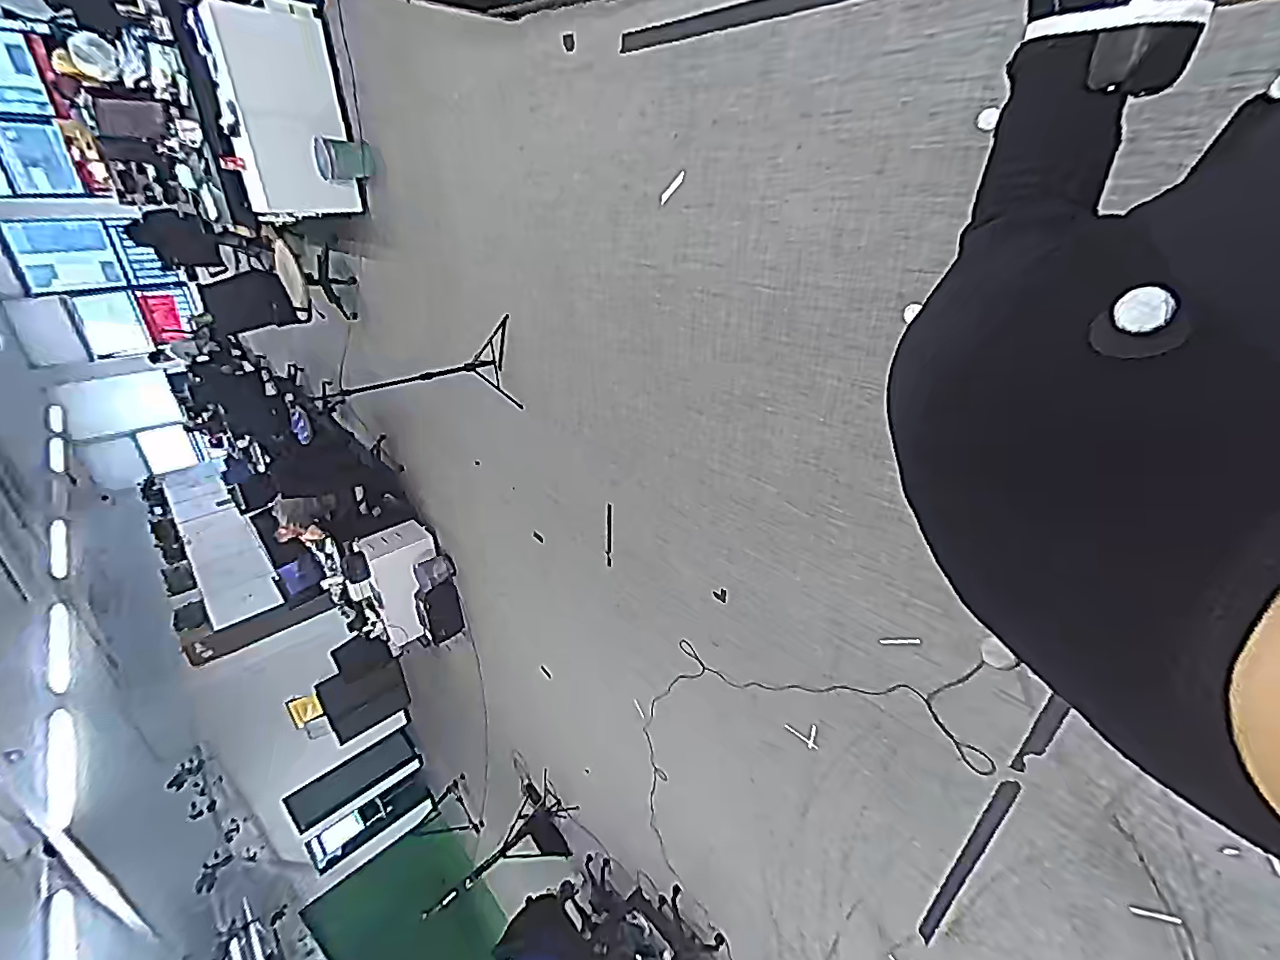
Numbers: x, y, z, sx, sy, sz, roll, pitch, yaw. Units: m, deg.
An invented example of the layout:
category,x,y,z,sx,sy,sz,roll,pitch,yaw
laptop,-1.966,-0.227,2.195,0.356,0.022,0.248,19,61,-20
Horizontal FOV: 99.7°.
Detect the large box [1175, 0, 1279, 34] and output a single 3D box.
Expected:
category,x,y,z,sx,sy,sz,roll,pitch,yaw
large box,0.533,-0.439,0.215,0.408,0.320,0.320,21,127,39
